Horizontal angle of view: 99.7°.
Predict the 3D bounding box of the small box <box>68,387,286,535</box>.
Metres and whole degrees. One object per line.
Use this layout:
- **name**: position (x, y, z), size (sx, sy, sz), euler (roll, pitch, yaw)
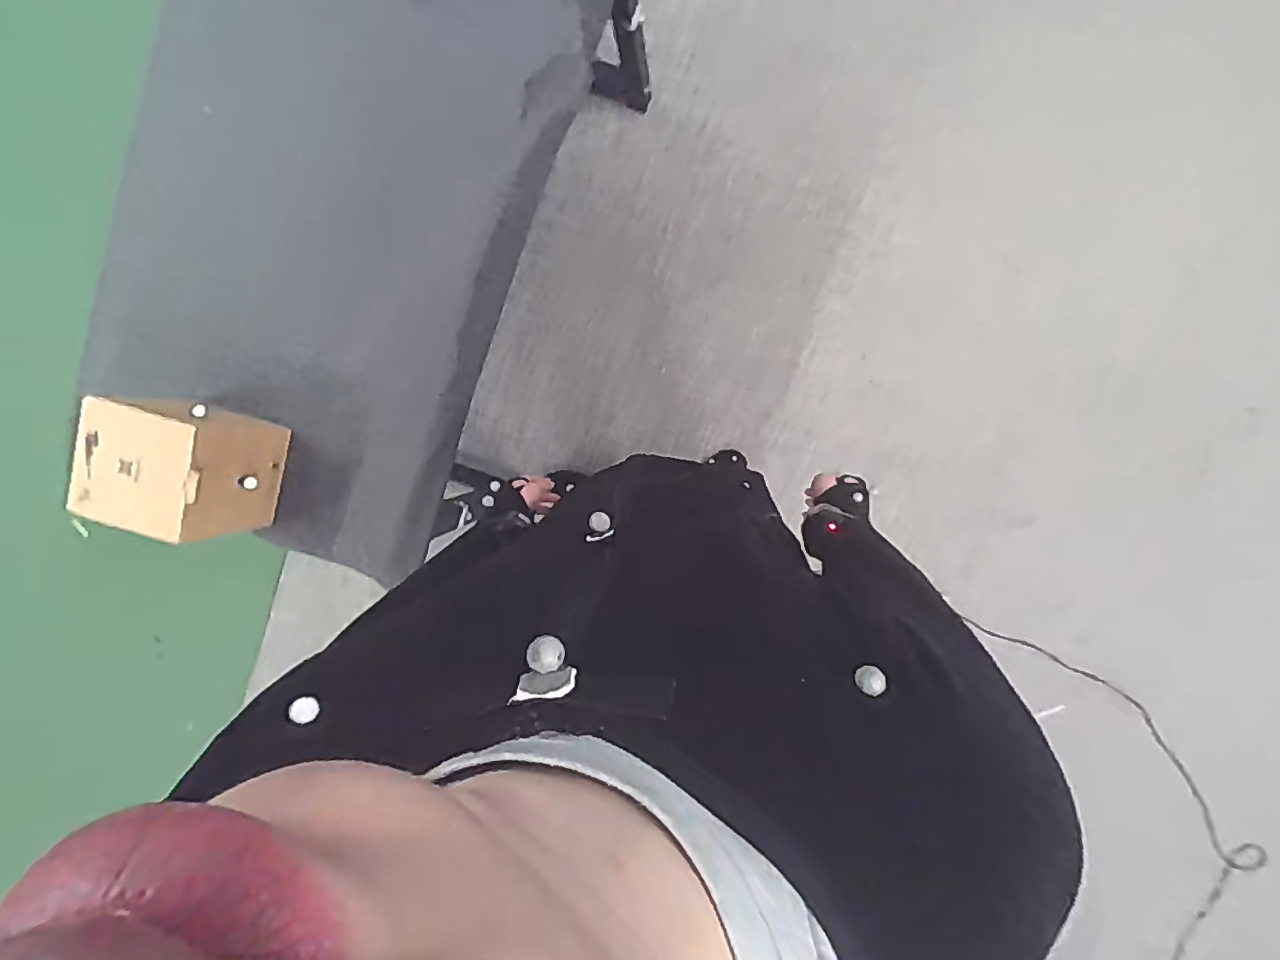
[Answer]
- **small box**: position (-0.674, -0.033, 0.807), size (0.179, 0.176, 0.168), euler (16, 96, 4)
